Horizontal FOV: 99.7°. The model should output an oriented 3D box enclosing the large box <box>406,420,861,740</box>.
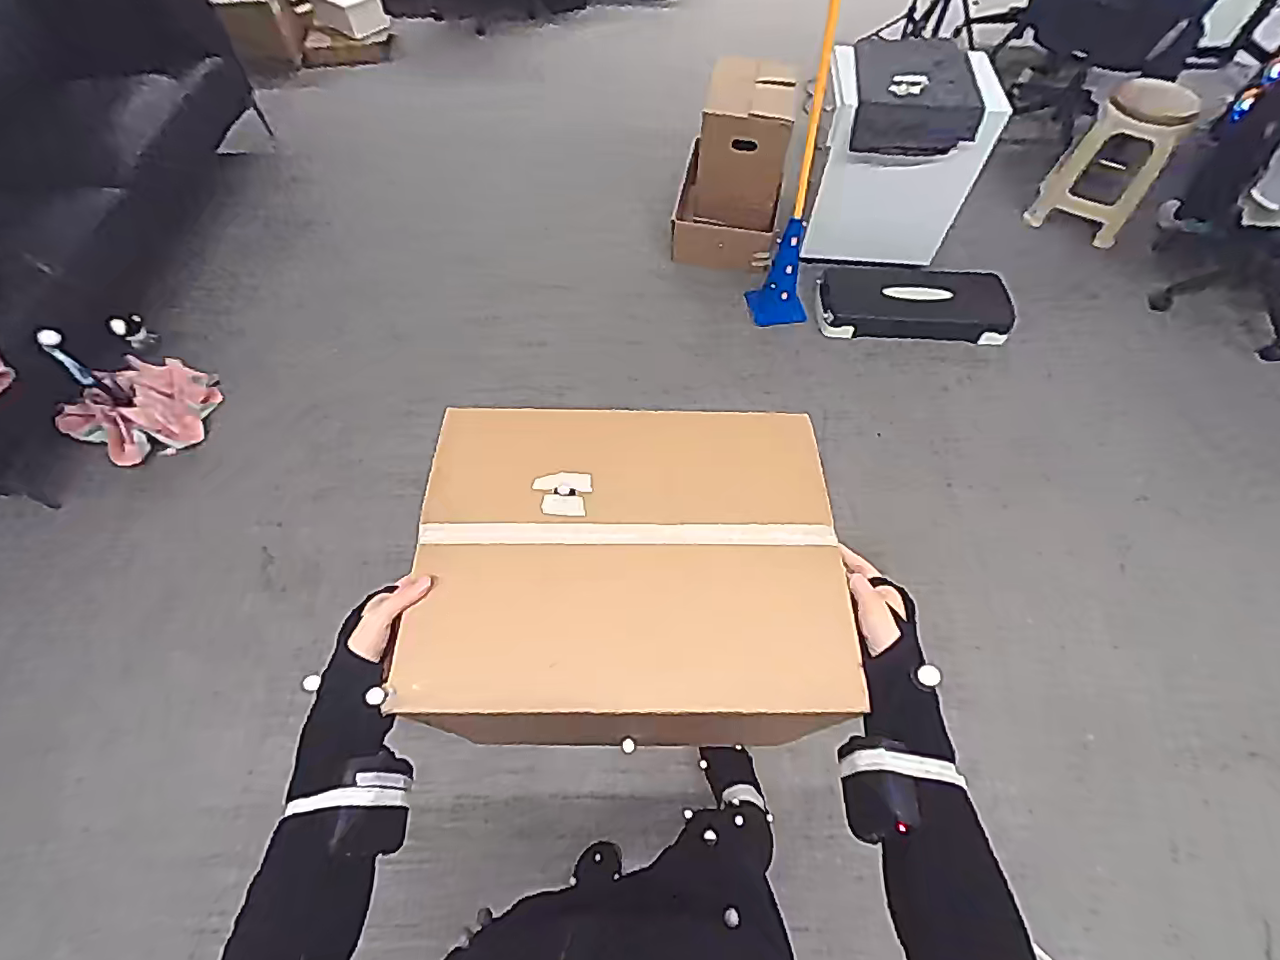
[{"bbox_3d":[-0.007,0.140,0.669,0.408,0.320,0.320,0,58,-1],"label":"large box"}]
